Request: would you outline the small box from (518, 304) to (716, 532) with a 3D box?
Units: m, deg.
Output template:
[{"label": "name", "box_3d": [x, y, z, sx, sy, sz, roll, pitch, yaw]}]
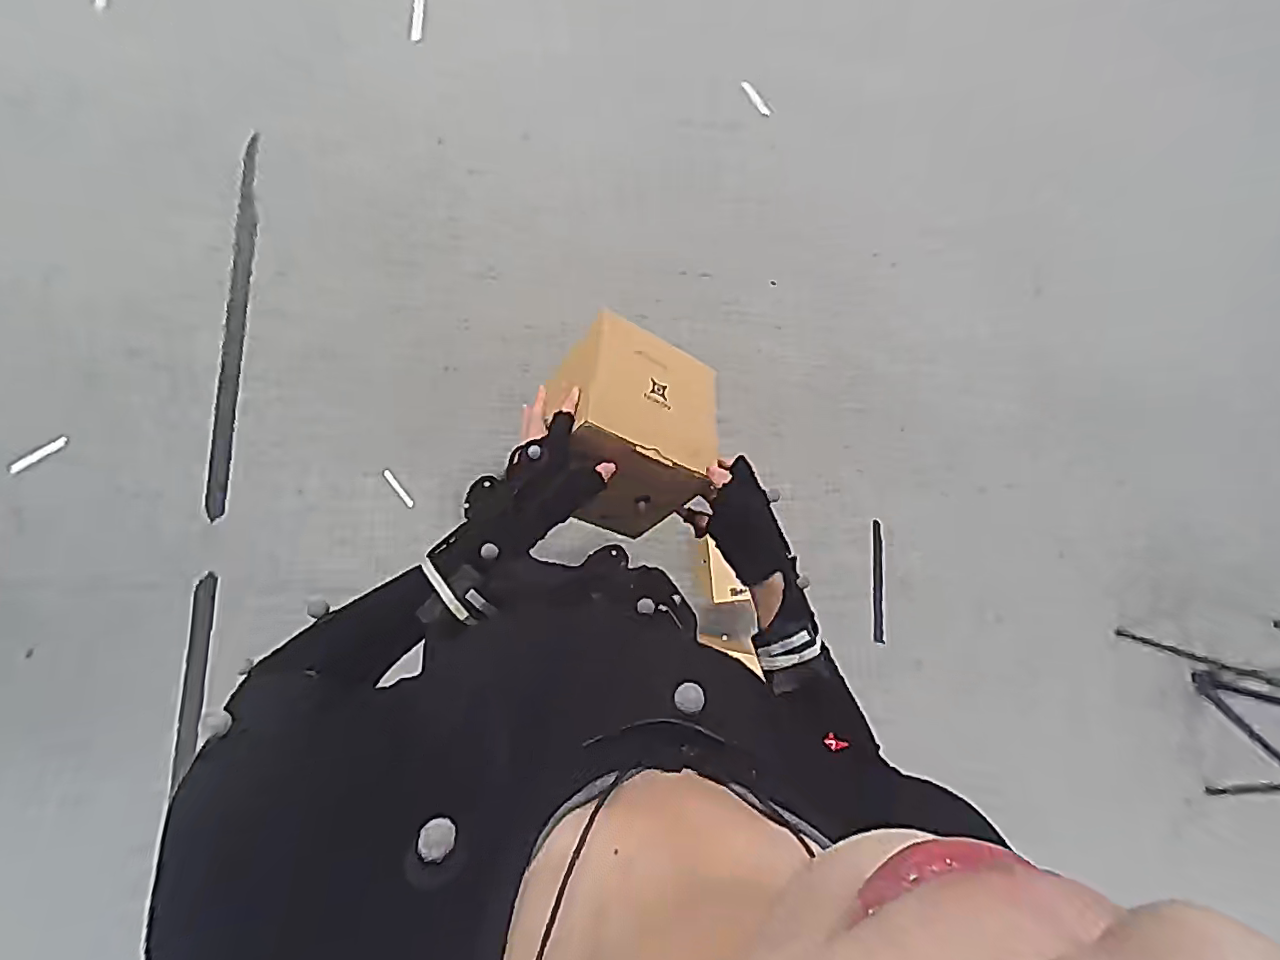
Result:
[{"label": "small box", "box_3d": [-0.029, -0.060, 0.636, 0.168, 0.176, 0.179, 22, 50, -26]}]

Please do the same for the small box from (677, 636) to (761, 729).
[{"label": "small box", "box_3d": [0.204, 0.535, 1.449, 0.168, 0.176, 0.179, 15, 83, -7]}]

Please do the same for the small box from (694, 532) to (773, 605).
[{"label": "small box", "box_3d": [0.249, 0.236, 1.476, 0.168, 0.176, 0.179, -4, 86, -7]}]
